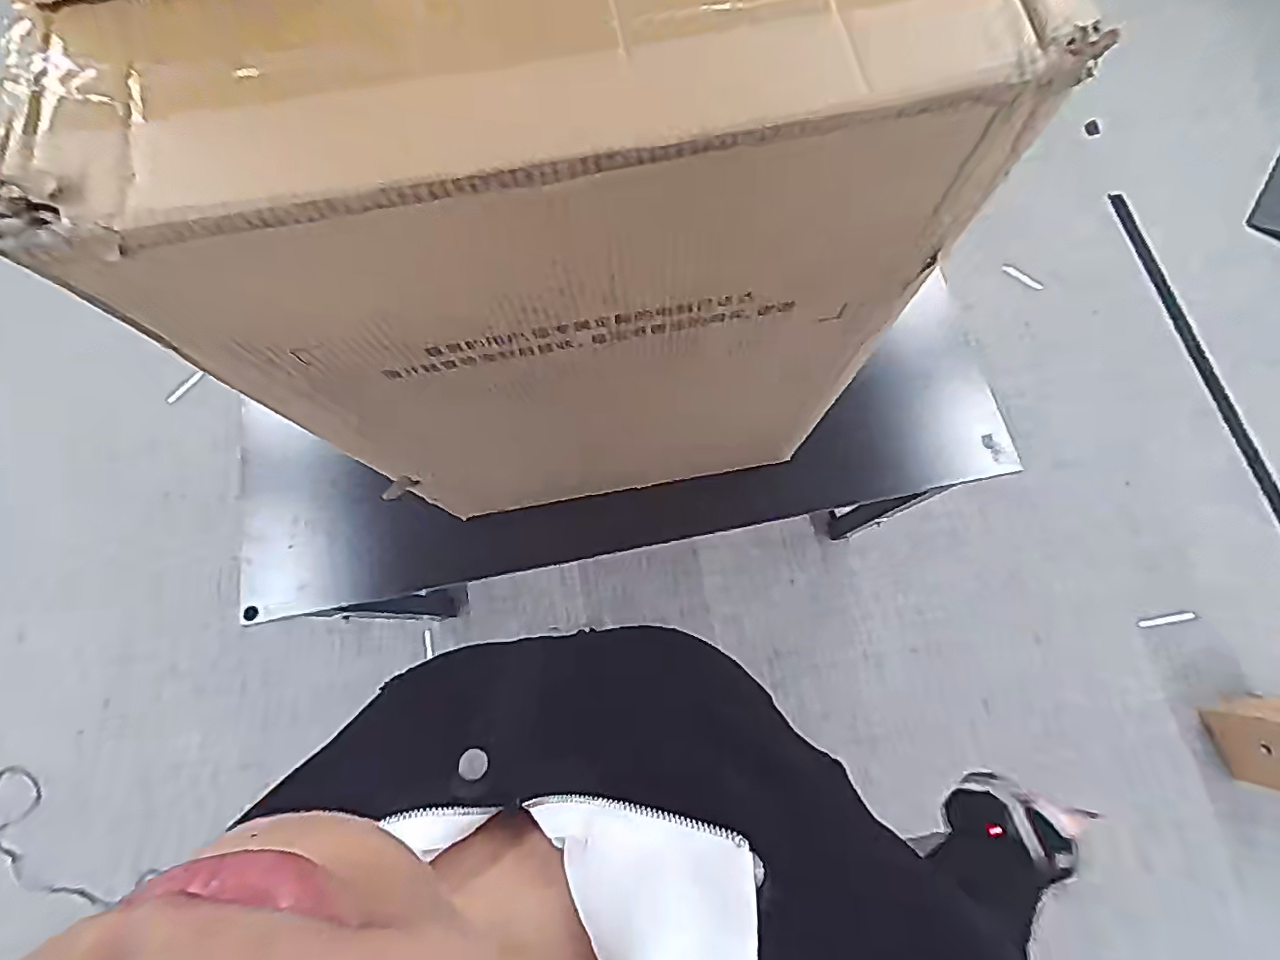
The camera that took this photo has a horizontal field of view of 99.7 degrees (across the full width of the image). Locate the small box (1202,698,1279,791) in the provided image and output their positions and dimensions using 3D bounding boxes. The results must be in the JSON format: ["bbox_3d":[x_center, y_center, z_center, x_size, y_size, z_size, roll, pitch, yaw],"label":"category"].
[{"bbox_3d":[1.537,0.635,1.301,0.168,0.176,0.179,-14,76,-2],"label":"small box"}]
